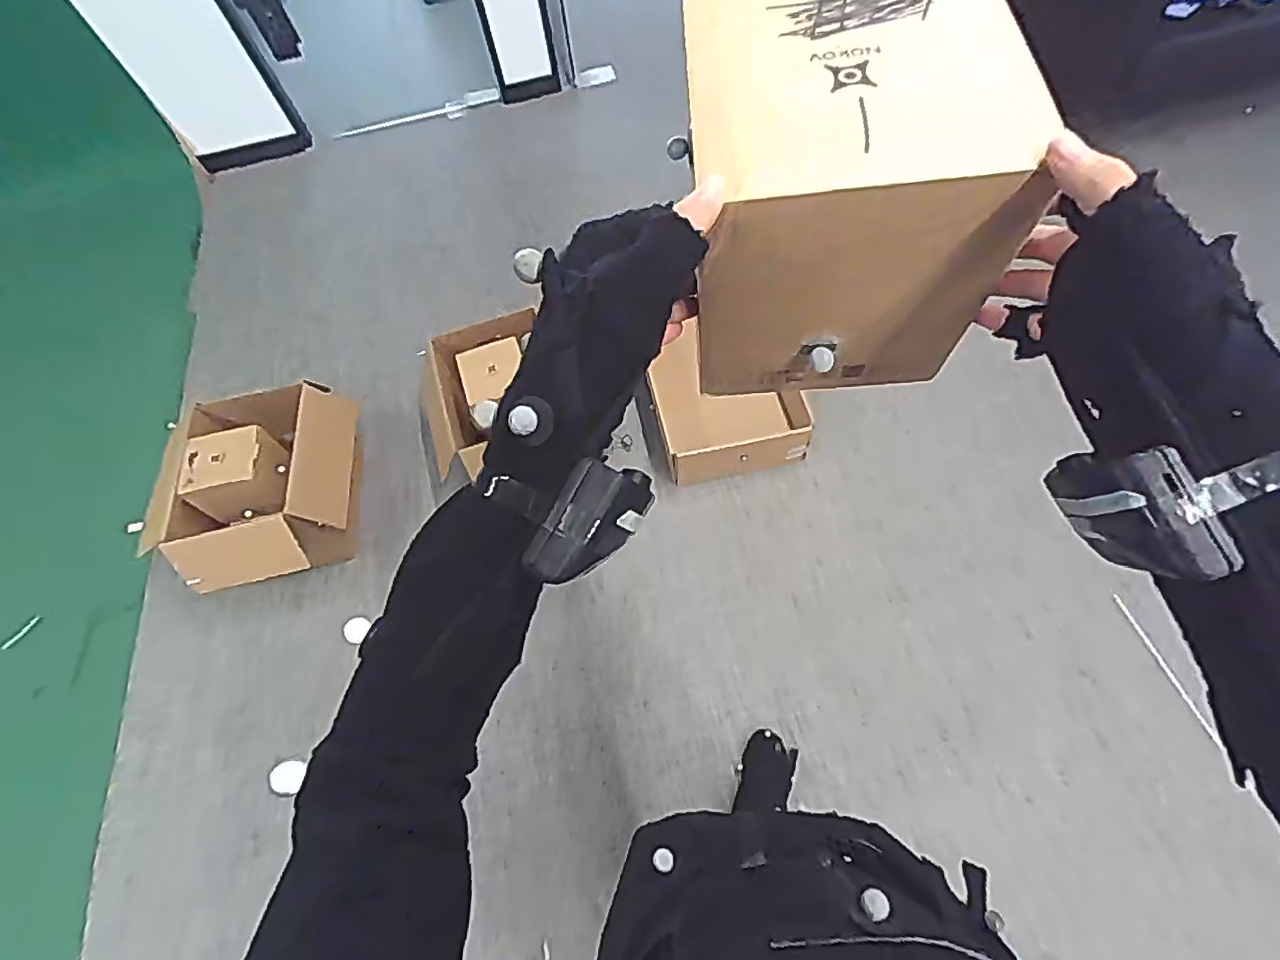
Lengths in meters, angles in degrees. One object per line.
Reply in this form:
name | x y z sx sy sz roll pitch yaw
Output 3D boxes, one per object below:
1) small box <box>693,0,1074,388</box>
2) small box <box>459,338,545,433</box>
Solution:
small box | 0.119 -0.181 0.351 0.168 0.176 0.179 -3 67 6
small box | -0.366 -0.245 1.461 0.168 0.176 0.179 -19 64 -6
